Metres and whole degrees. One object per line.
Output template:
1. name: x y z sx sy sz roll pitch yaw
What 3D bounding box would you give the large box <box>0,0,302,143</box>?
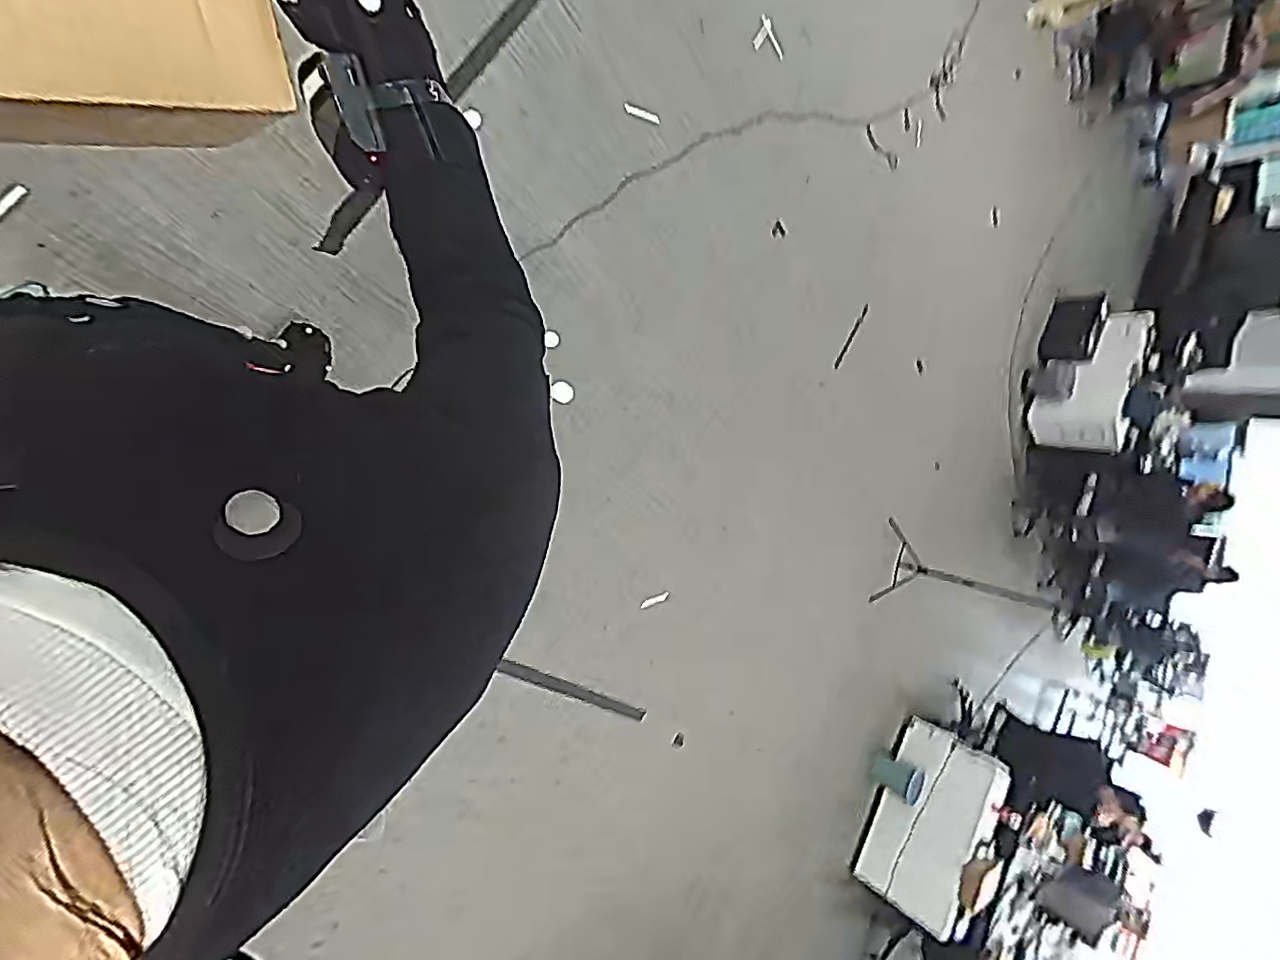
1. large box: -0.477 -0.364 0.277 0.408 0.320 0.320 -24 127 -35
